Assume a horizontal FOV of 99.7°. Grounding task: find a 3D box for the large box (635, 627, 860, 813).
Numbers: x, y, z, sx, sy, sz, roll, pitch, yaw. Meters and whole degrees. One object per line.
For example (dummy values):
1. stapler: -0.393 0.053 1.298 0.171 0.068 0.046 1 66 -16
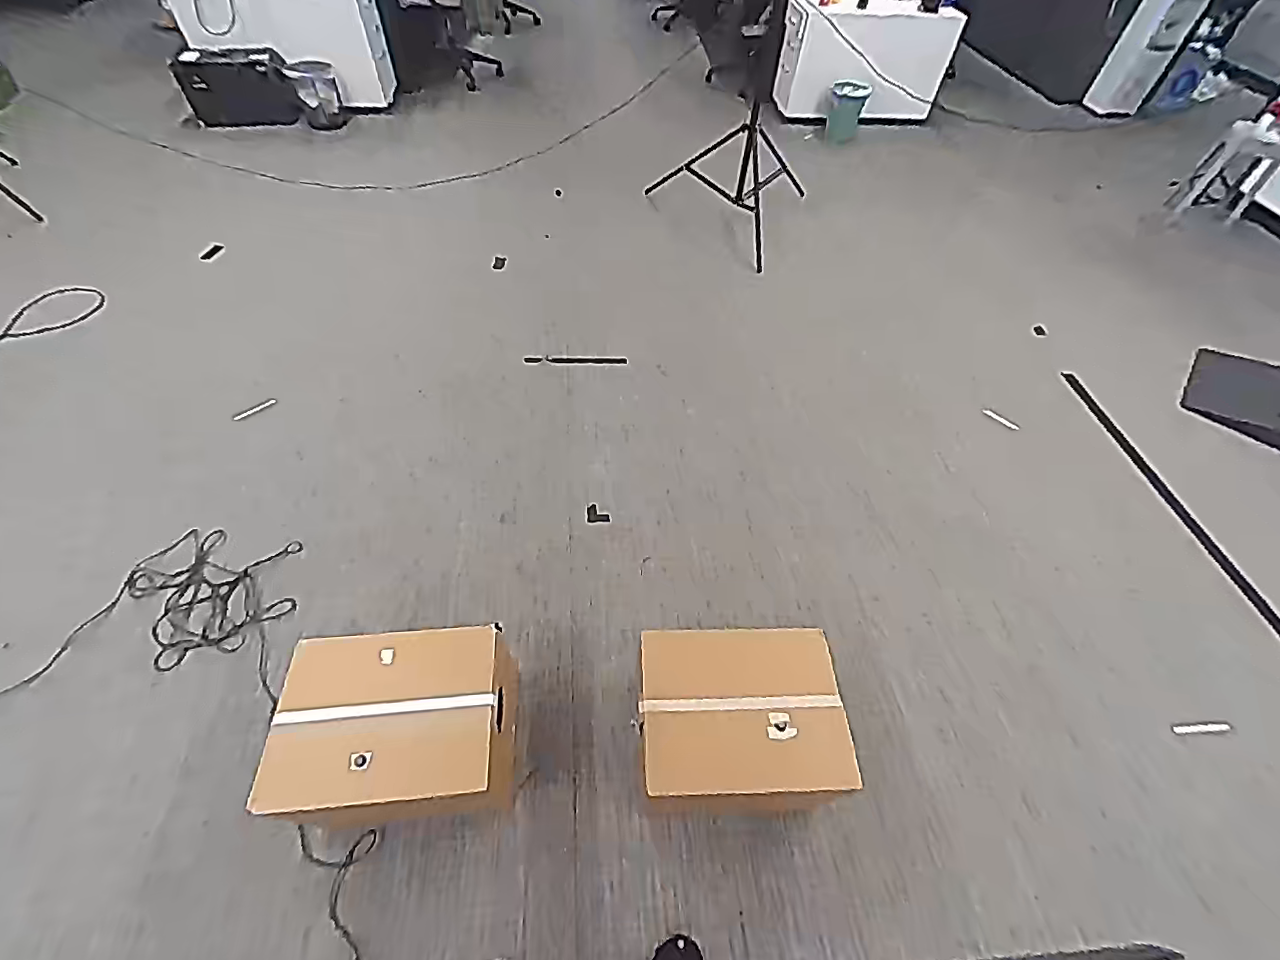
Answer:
1. large box: 0.202 0.539 1.207 0.408 0.320 0.320 1 53 -4
